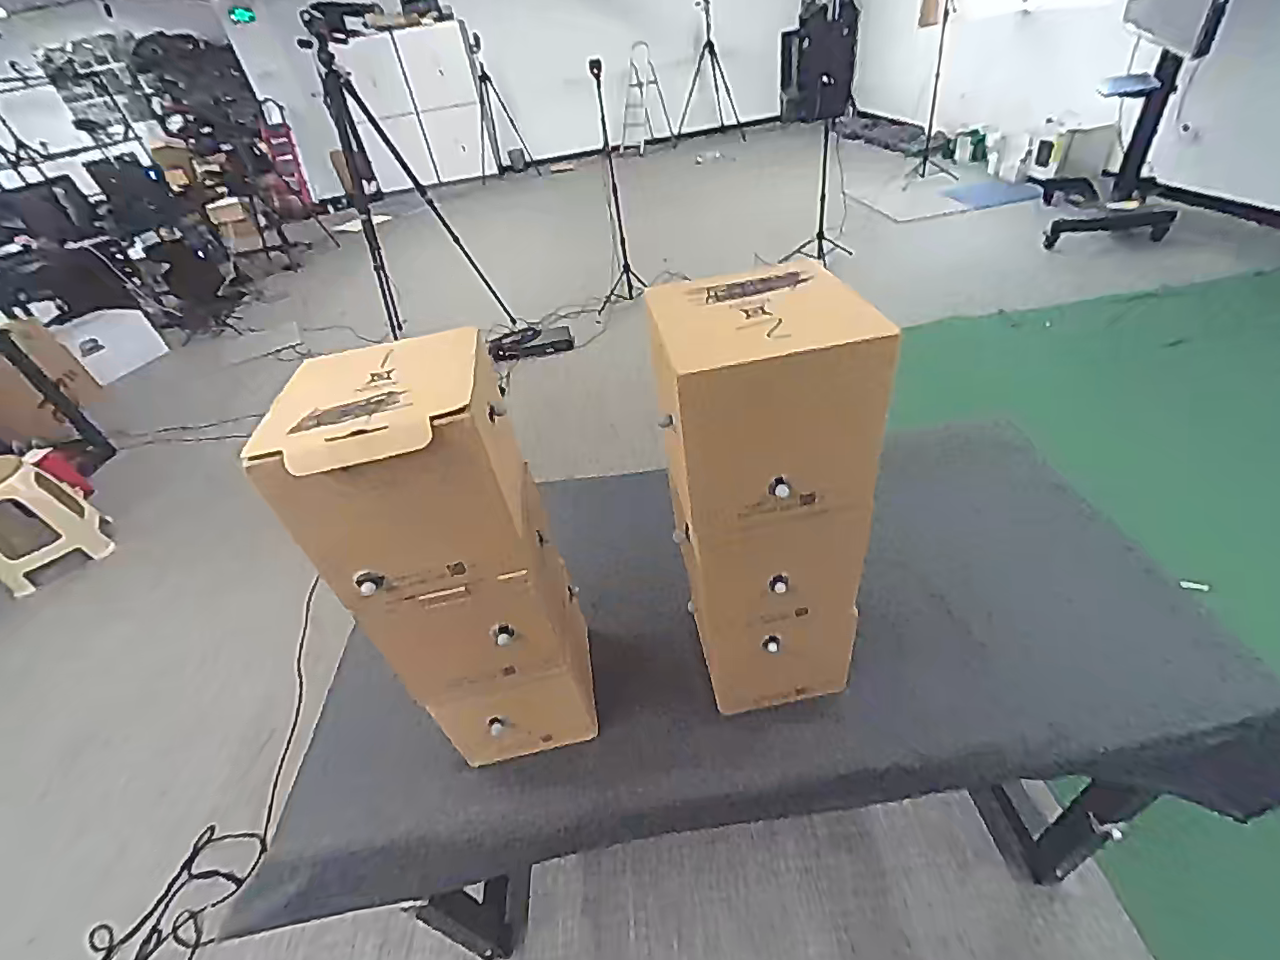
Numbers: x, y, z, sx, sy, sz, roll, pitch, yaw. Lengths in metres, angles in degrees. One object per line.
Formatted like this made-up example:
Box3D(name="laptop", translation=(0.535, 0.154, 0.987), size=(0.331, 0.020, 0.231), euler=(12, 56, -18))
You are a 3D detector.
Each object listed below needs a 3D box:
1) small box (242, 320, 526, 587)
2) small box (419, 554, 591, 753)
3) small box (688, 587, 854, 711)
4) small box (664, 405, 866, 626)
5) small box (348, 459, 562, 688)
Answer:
Box3D(name="small box", translation=(-0.206, -0.022, 0.495), size=(0.168, 0.176, 0.179), euler=(-12, 38, -5))
Box3D(name="small box", translation=(-0.163, 0.229, 0.700), size=(0.168, 0.176, 0.179), euler=(-12, 39, -3))
Box3D(name="small box", translation=(0.156, 0.169, 0.708), size=(0.168, 0.176, 0.179), euler=(-11, 38, -1))
Box3D(name="small box", translation=(0.128, 0.043, 0.602), size=(0.168, 0.176, 0.179), euler=(-10, 39, -2))
Box3D(name="small box", translation=(-0.185, 0.106, 0.597), size=(0.168, 0.176, 0.179), euler=(-11, 38, -4))
